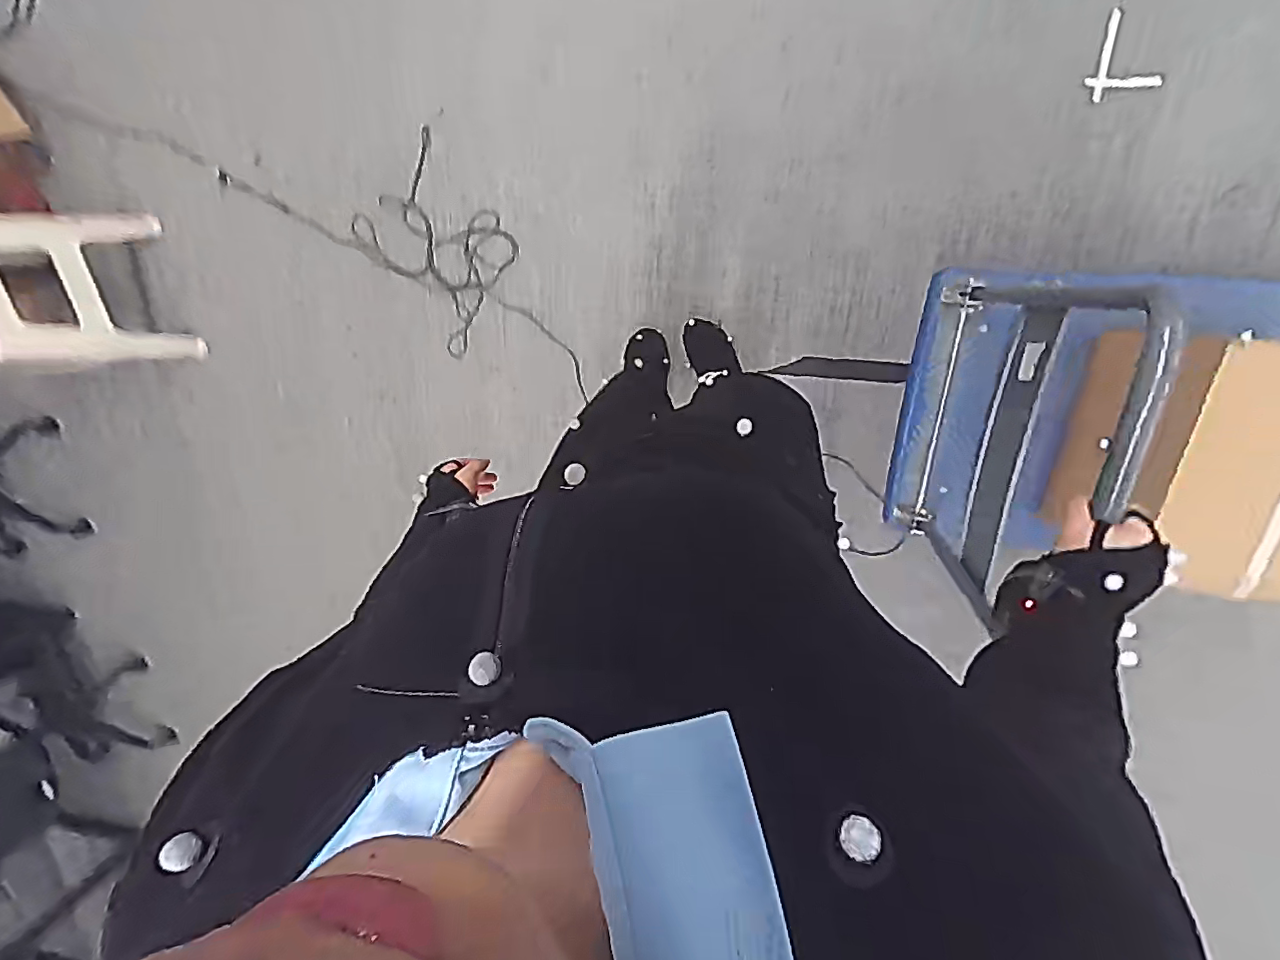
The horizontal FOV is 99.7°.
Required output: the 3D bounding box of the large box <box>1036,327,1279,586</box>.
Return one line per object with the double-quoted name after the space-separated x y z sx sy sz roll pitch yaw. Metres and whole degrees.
1.011 -0.061 0.989 0.320 0.320 0.408 6 108 7 "large box"
